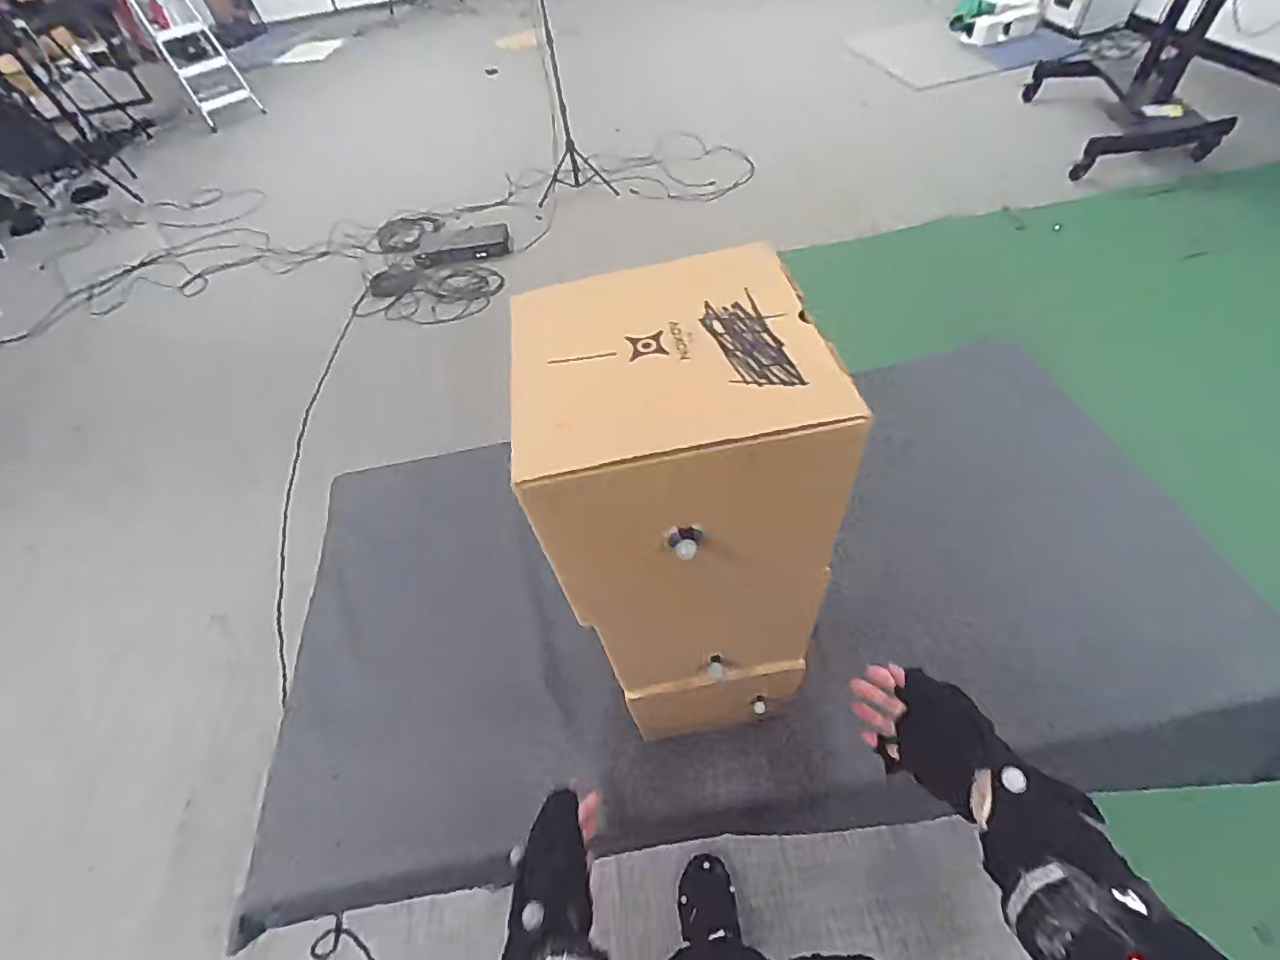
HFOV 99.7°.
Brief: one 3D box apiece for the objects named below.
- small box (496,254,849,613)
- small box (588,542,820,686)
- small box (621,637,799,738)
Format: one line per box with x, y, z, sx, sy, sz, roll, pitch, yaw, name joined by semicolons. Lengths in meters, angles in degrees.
0.017;-0.026;0.372;0.179;0.176;0.168;-8;50;2;small box
0.044;0.073;0.505;0.179;0.176;0.168;-11;51;0;small box
0.066;0.179;0.627;0.179;0.176;0.168;-13;50;0;small box
